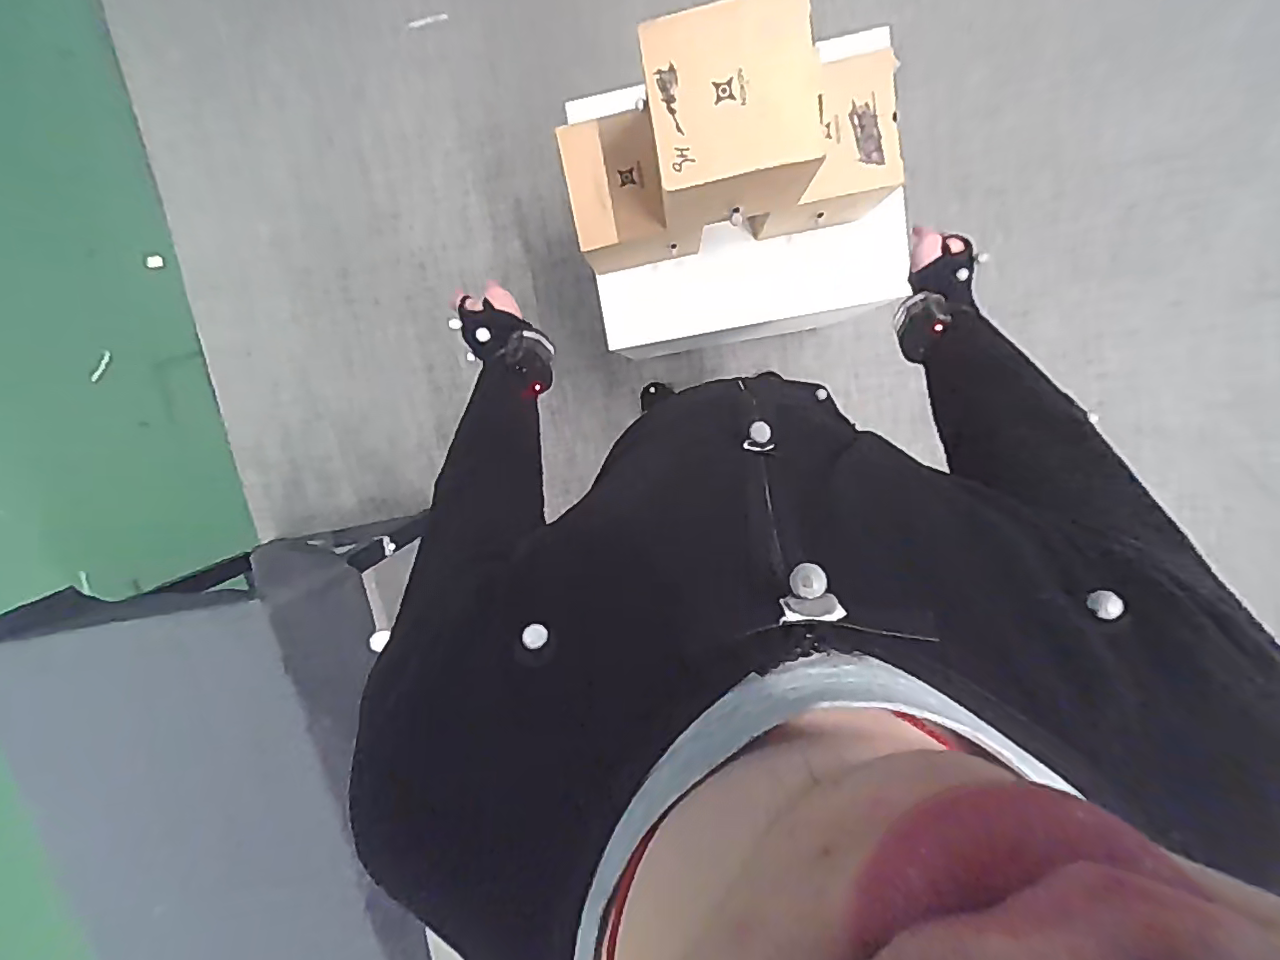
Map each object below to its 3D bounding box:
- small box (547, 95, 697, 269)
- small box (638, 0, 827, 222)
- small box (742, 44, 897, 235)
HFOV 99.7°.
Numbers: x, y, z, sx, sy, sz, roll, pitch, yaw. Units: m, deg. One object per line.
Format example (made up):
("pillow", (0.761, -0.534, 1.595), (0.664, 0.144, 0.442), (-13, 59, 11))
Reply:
("small box", (-0.021, -0.424, 0.791), (0.179, 0.176, 0.168), (-11, 99, 4))
("small box", (0.097, -0.416, 0.621), (0.179, 0.176, 0.168), (-9, 100, 4))
("small box", (0.240, -0.467, 0.771), (0.179, 0.176, 0.168), (-9, 100, 5))
